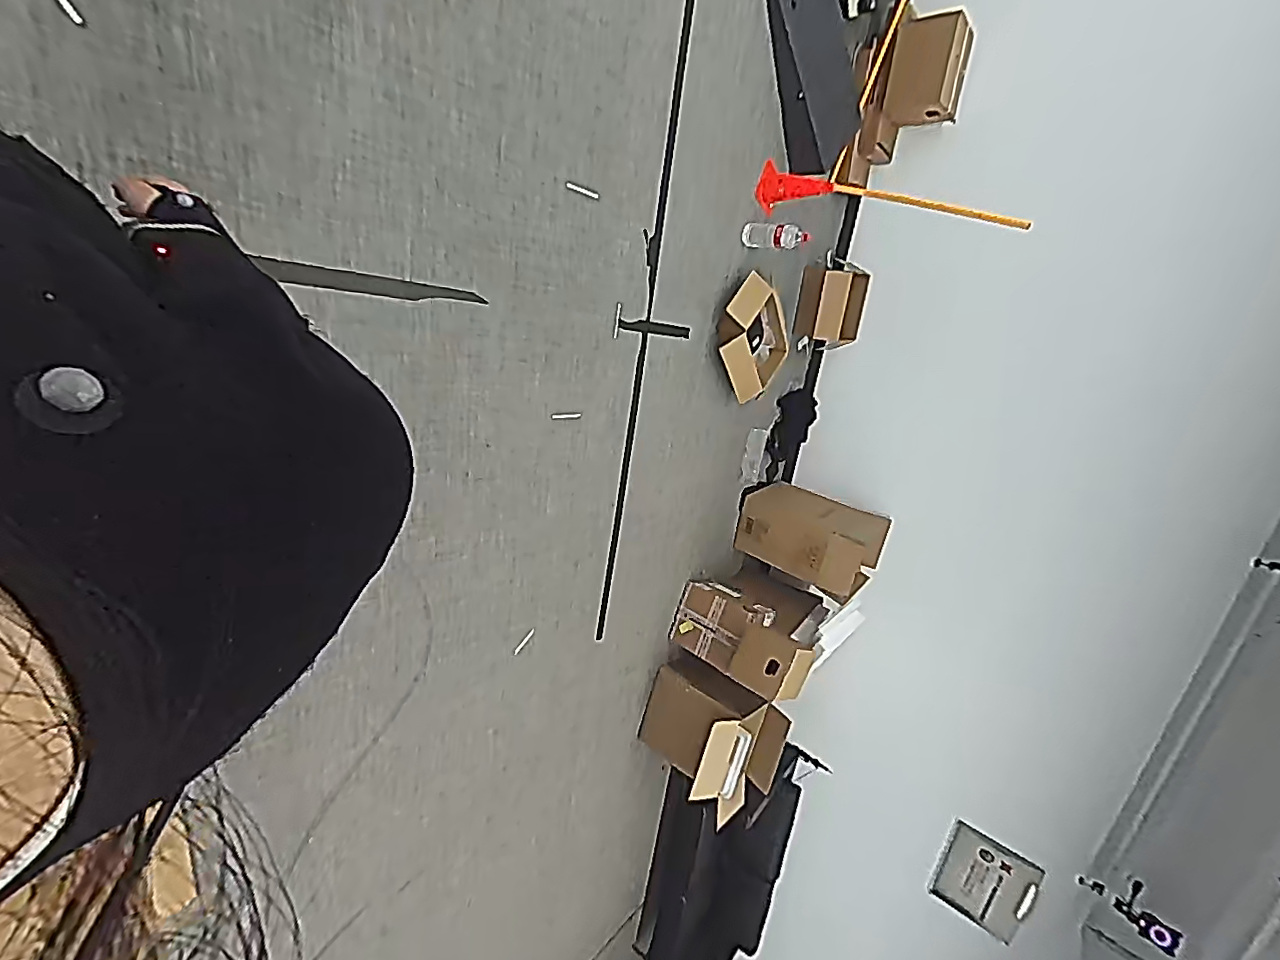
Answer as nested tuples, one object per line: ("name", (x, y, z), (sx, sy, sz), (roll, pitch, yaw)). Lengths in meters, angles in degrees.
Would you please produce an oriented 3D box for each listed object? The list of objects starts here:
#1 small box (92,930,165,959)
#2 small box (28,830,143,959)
("small box", (-1.051, 1.072, 1.081), (0.168, 0.176, 0.179), (-12, 116, -50))
("small box", (-1.300, 0.969, 1.270), (0.168, 0.176, 0.179), (-9, 115, -50))
